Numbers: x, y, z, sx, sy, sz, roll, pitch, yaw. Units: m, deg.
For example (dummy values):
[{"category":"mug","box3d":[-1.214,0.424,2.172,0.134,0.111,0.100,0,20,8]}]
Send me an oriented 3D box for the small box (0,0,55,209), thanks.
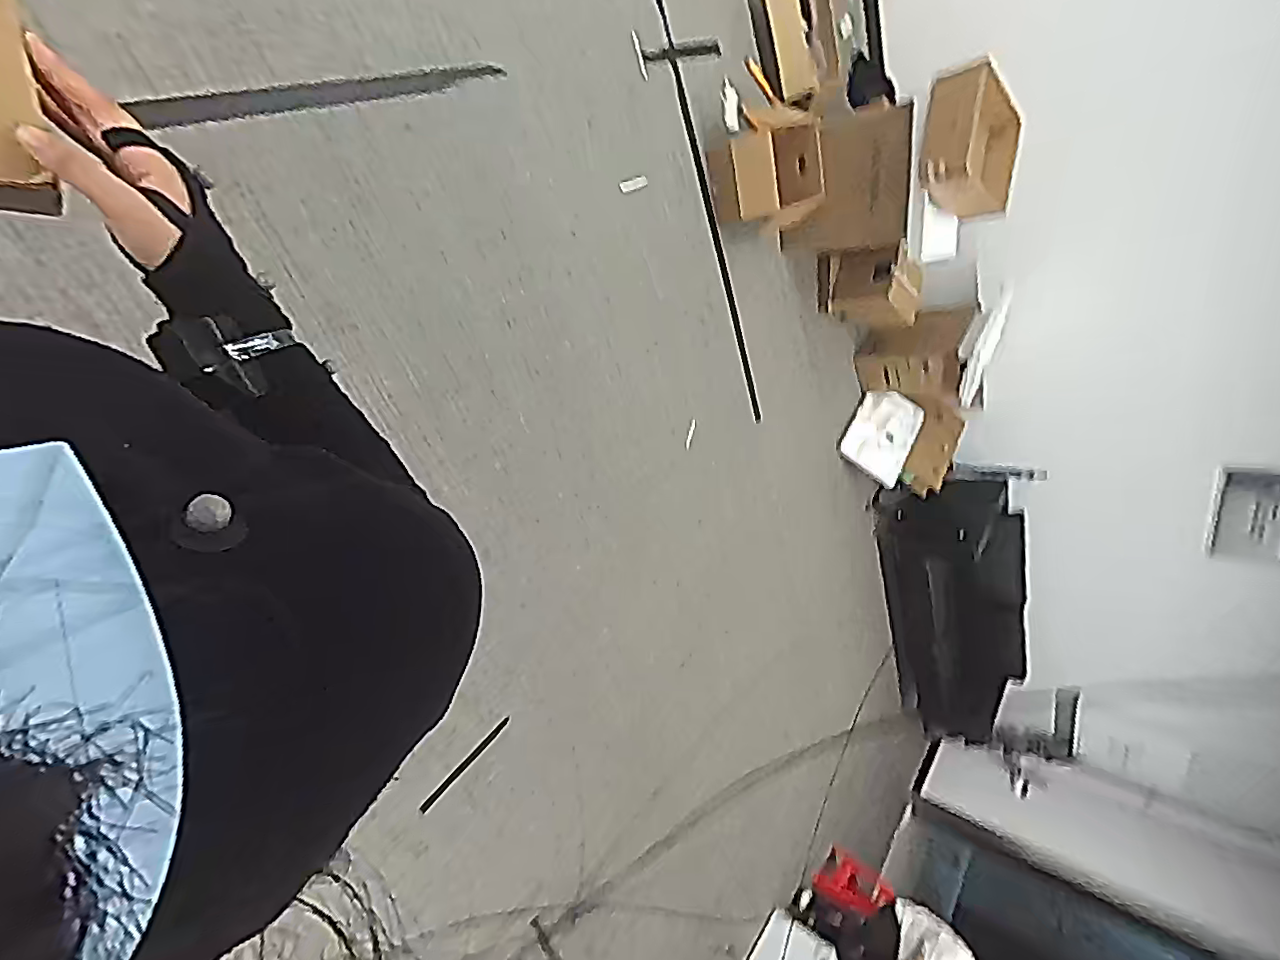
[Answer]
[{"category":"small box","box3d":[-0.474,-0.271,0.307,0.168,0.176,0.179,-14,113,-43]}]
